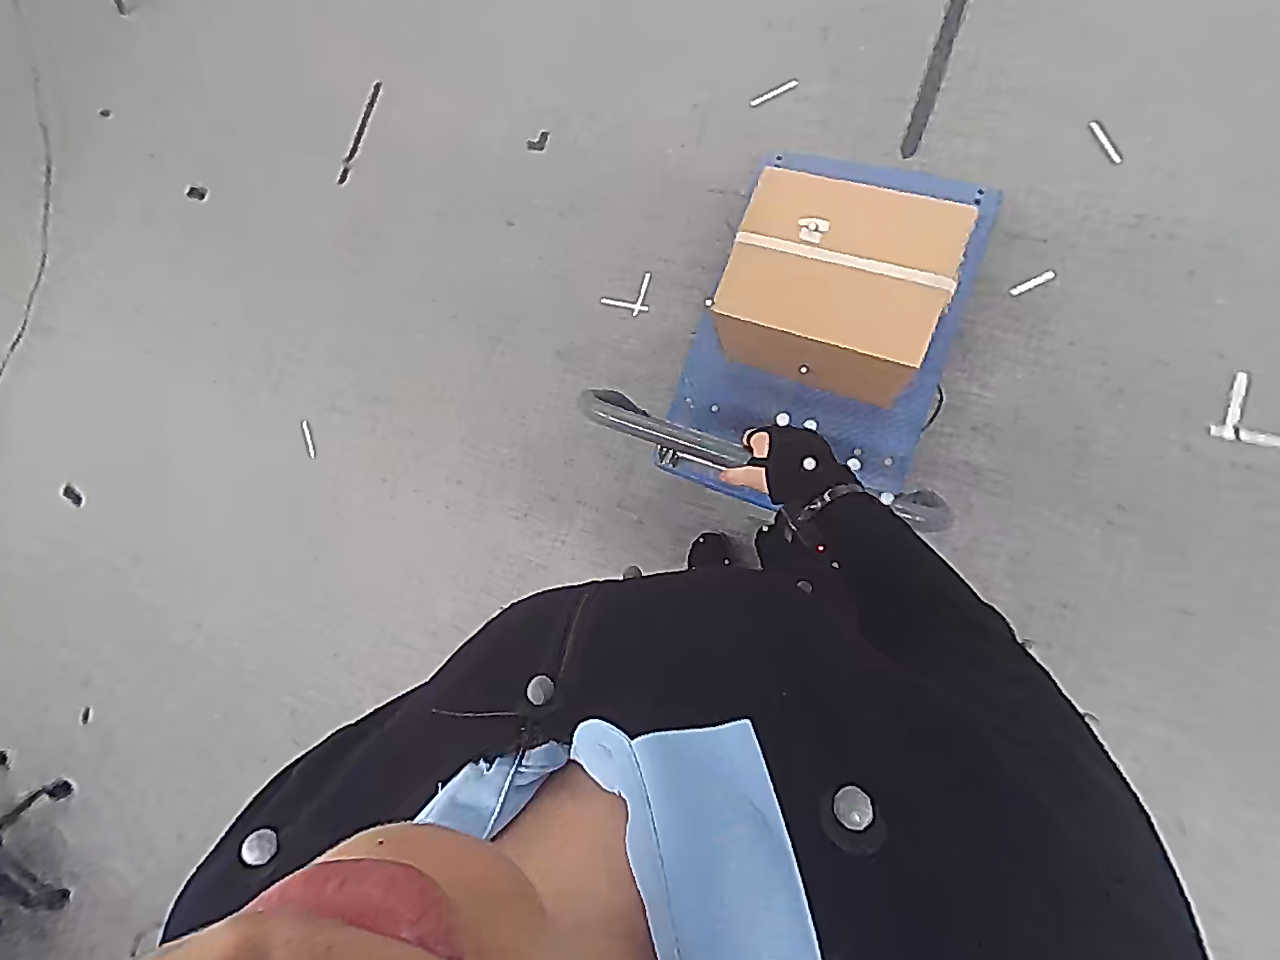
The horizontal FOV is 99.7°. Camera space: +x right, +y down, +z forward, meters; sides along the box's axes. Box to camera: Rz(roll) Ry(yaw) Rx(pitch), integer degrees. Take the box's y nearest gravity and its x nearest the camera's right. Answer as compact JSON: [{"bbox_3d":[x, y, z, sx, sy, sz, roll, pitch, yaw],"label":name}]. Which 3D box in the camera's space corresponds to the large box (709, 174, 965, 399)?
[{"bbox_3d":[0.409,-0.402,1.181,0.408,0.320,0.320,20,88,17],"label":"large box"}]
